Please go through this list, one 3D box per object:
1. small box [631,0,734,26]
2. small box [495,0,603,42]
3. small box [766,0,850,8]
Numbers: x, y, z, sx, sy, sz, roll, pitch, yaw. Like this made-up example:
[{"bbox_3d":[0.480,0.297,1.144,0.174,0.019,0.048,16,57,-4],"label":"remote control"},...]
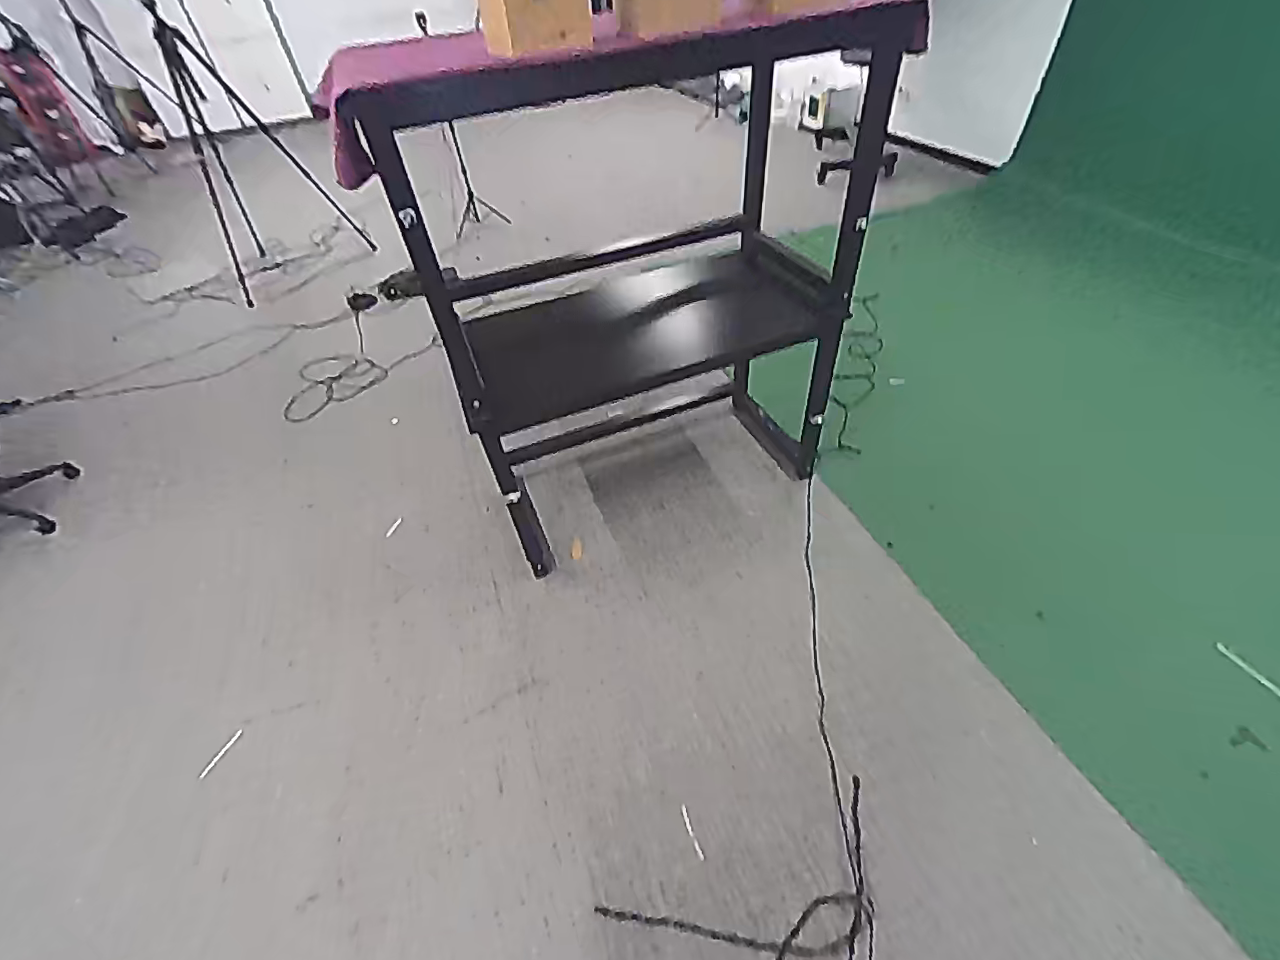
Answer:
[{"bbox_3d":[0.078,-1.007,1.053,0.179,0.176,0.168,-16,47,-10],"label":"small box"},{"bbox_3d":[-0.178,-0.930,1.000,0.168,0.176,0.179,-21,47,-15],"label":"small box"},{"bbox_3d":[0.362,-1.104,1.125,0.179,0.176,0.168,-15,46,-9],"label":"small box"}]
